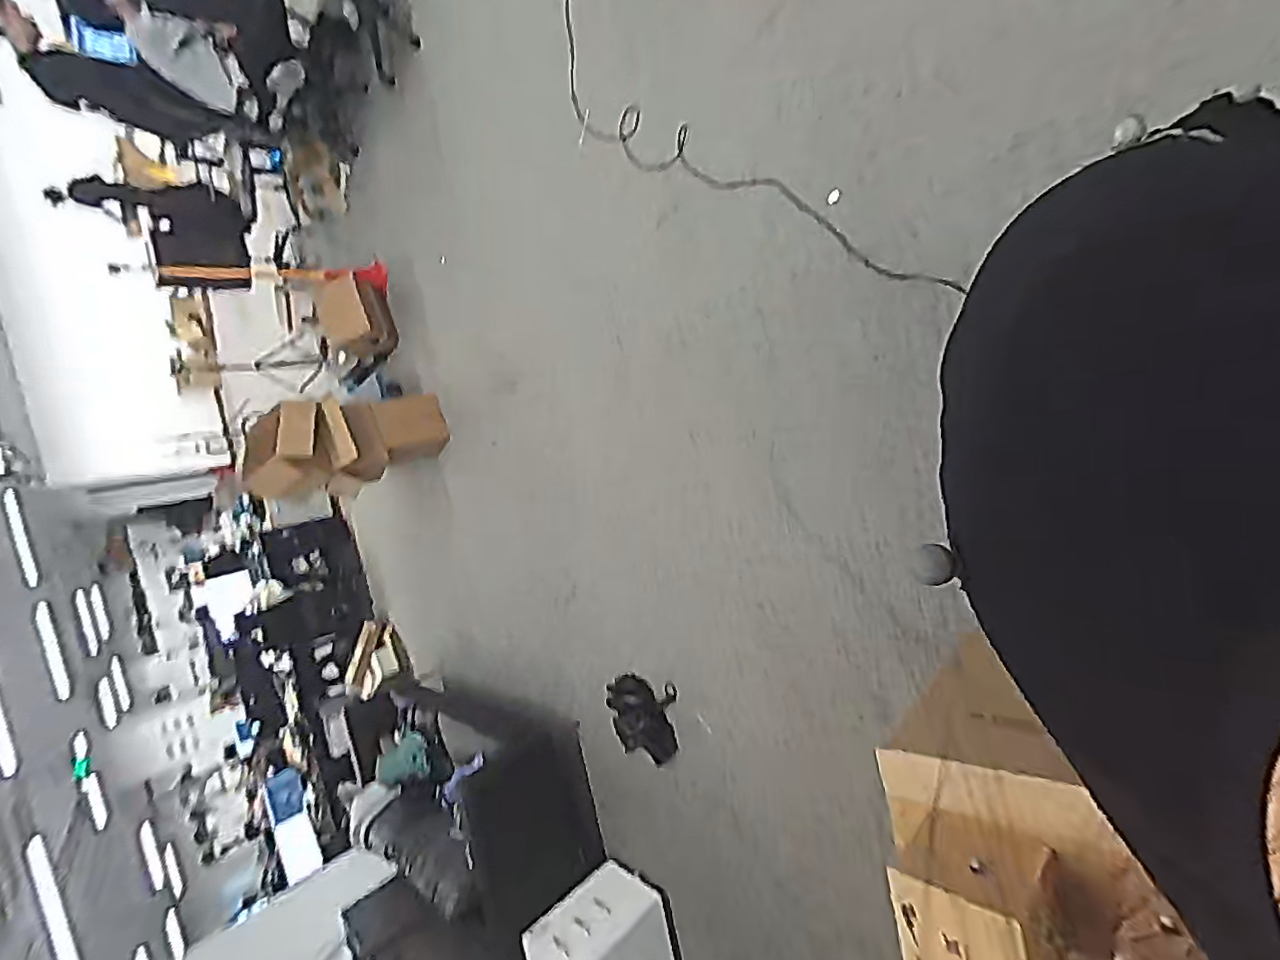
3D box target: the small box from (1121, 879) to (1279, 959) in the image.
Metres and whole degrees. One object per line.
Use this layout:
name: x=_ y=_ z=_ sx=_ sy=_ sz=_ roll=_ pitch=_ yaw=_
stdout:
small box: x=0.680 y=0.597 z=0.605 sx=0.179 sy=0.176 sz=0.168 roll=-15 pitch=88 yaw=46

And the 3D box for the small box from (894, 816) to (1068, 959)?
small box: x=0.506 y=0.637 z=0.797 sx=0.179 sy=0.176 sz=0.168 roll=-11 pitch=89 yaw=47
